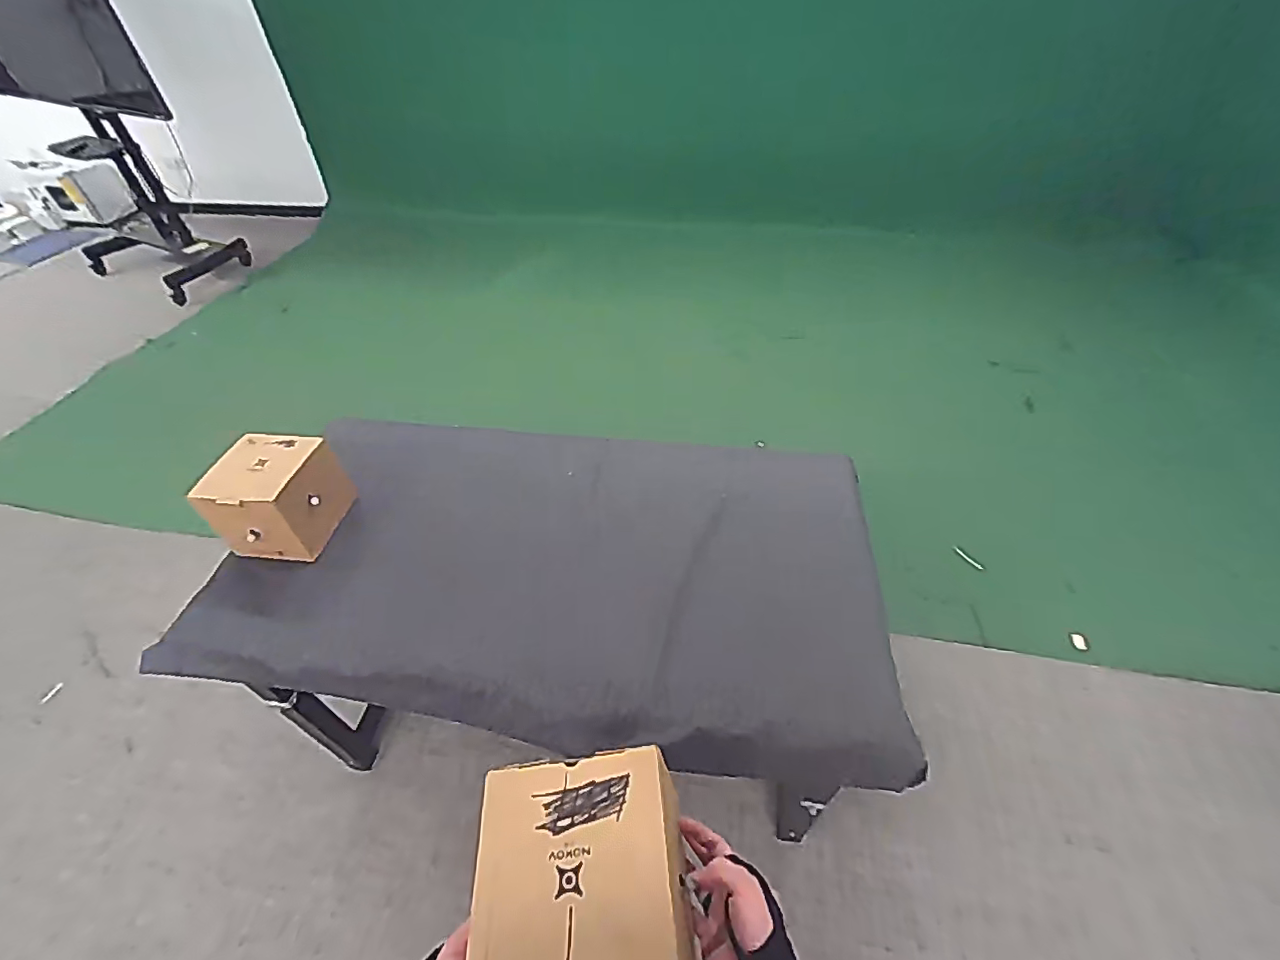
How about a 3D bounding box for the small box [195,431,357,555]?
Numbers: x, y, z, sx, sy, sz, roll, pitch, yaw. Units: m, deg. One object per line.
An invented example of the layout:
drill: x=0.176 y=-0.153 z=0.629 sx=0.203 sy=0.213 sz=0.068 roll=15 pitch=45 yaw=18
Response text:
small box: x=-0.686 y=0.028 z=1.050 sx=0.168 sy=0.176 sz=0.179 roll=4 pitch=46 yaw=5
